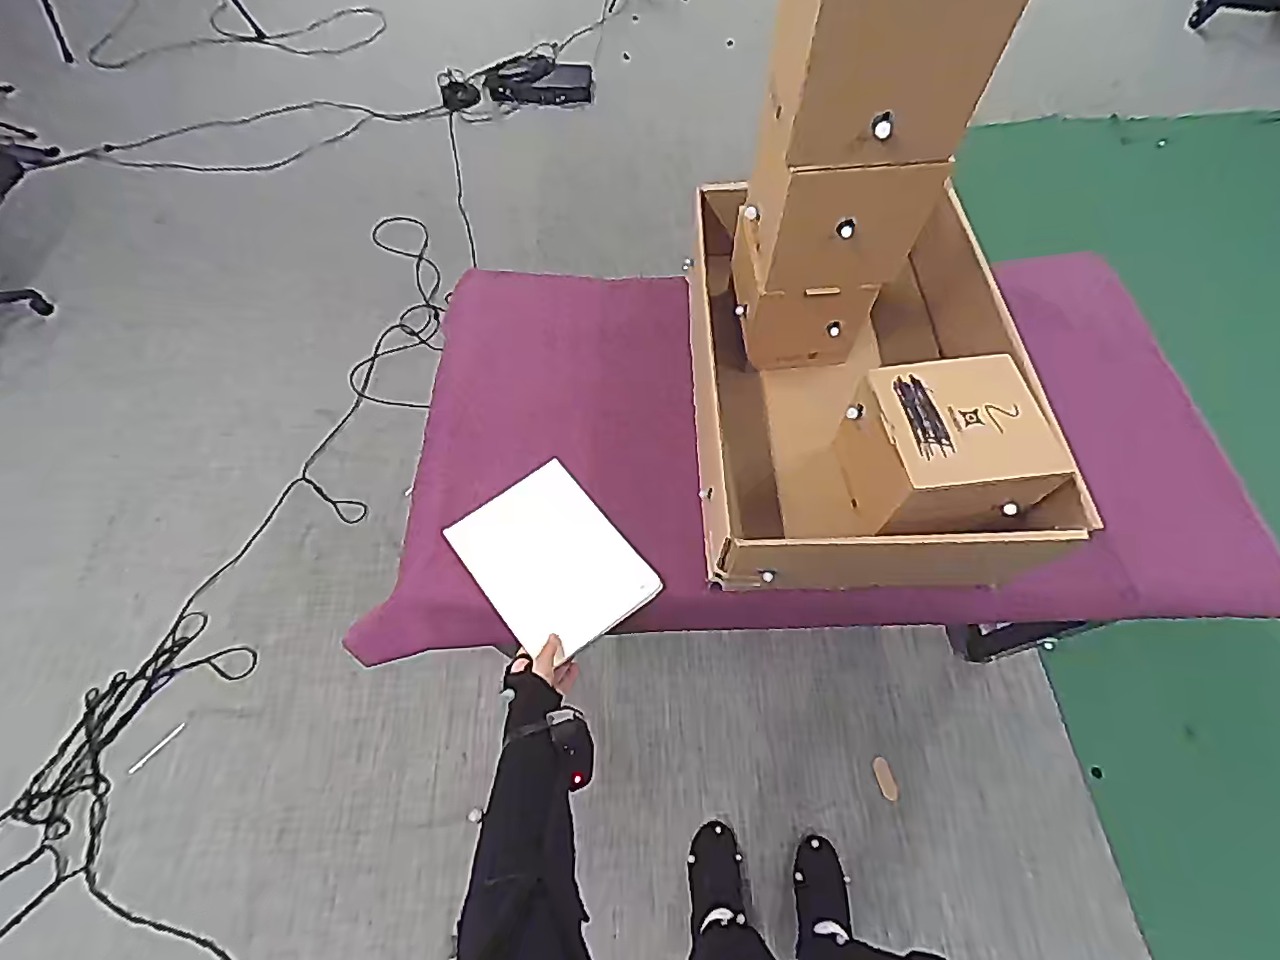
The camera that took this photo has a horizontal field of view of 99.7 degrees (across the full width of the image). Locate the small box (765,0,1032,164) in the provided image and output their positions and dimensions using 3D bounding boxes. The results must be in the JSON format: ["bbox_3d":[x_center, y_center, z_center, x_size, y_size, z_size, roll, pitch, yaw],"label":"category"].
[{"bbox_3d":[0.234,-0.438,0.529,0.179,0.176,0.168,-2,62,0],"label":"small box"}]

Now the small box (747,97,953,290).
[{"bbox_3d":[0.242,-0.359,0.673,0.179,0.176,0.168,-4,63,0],"label":"small box"}]
